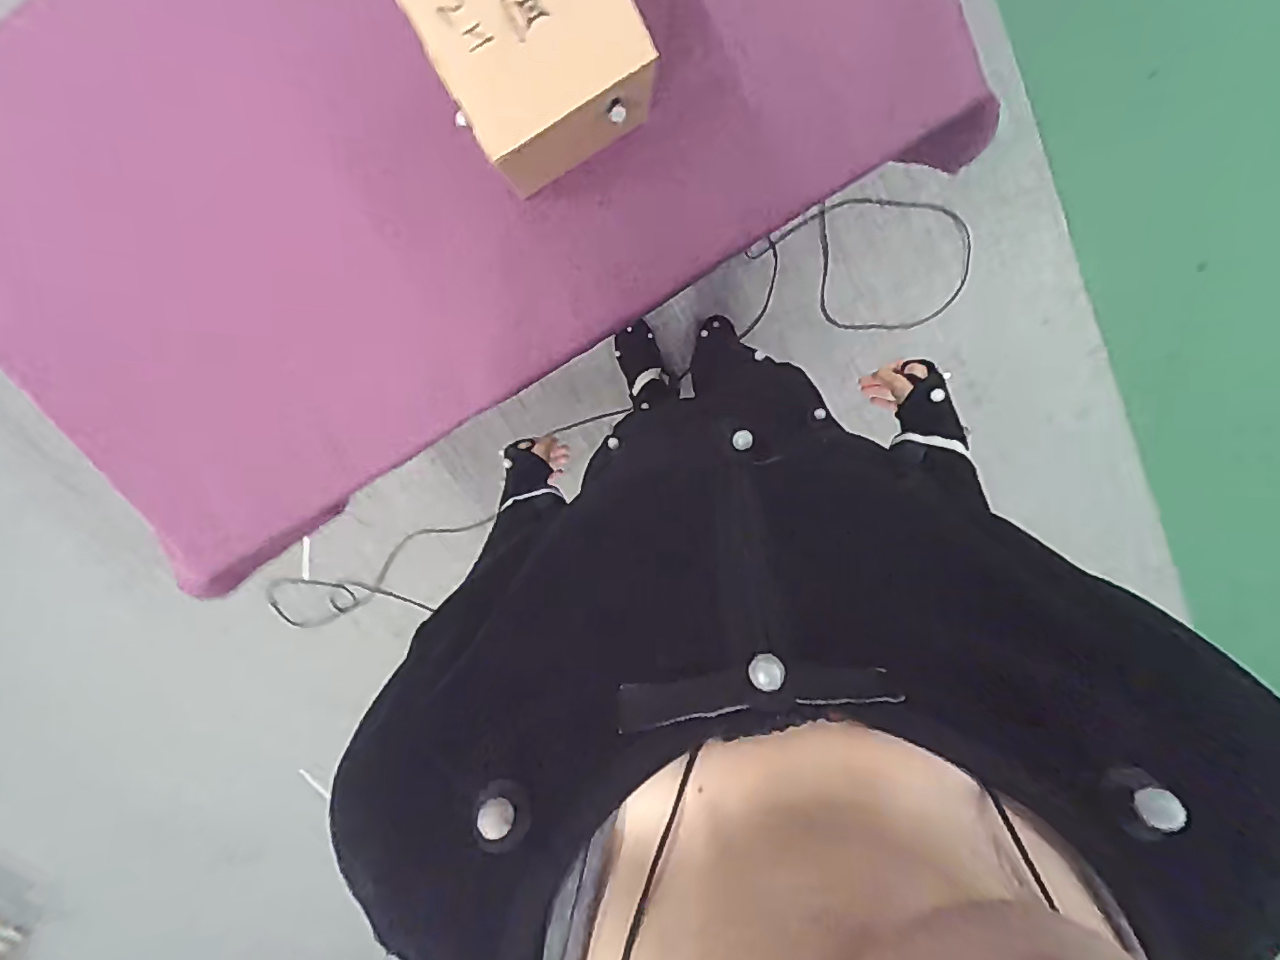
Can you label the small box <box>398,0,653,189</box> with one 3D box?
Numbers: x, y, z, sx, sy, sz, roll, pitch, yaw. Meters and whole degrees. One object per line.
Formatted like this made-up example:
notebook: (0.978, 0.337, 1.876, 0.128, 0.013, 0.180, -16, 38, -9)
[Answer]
small box: (-0.105, -0.424, 0.535, 0.179, 0.176, 0.168, -29, 106, 7)
